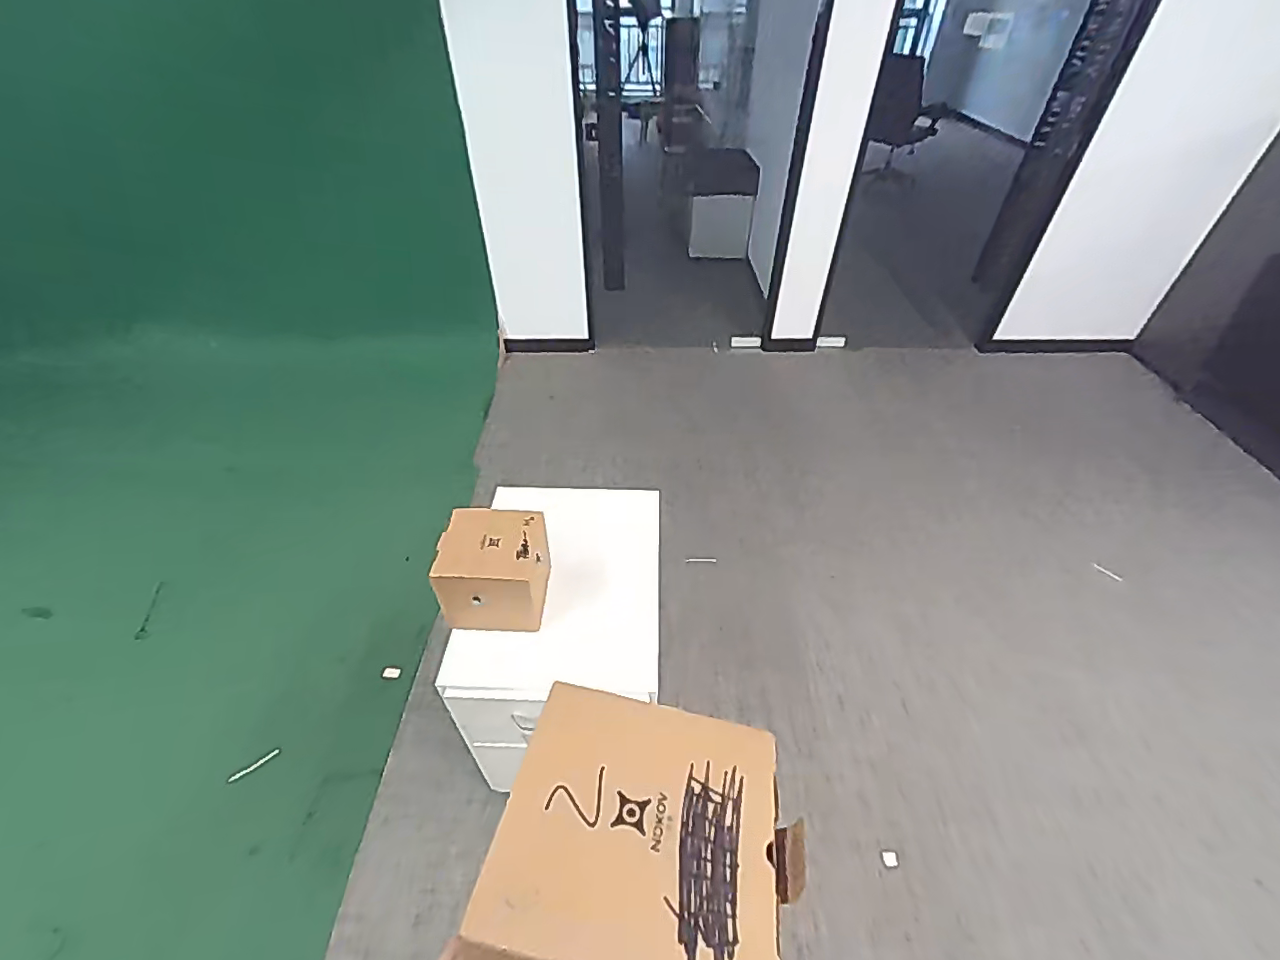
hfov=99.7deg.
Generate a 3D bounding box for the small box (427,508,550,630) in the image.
[{"bbox_3d":[-0.277,0.171,1.032,0.179,0.176,0.168,2,44,0],"label":"small box"}]
